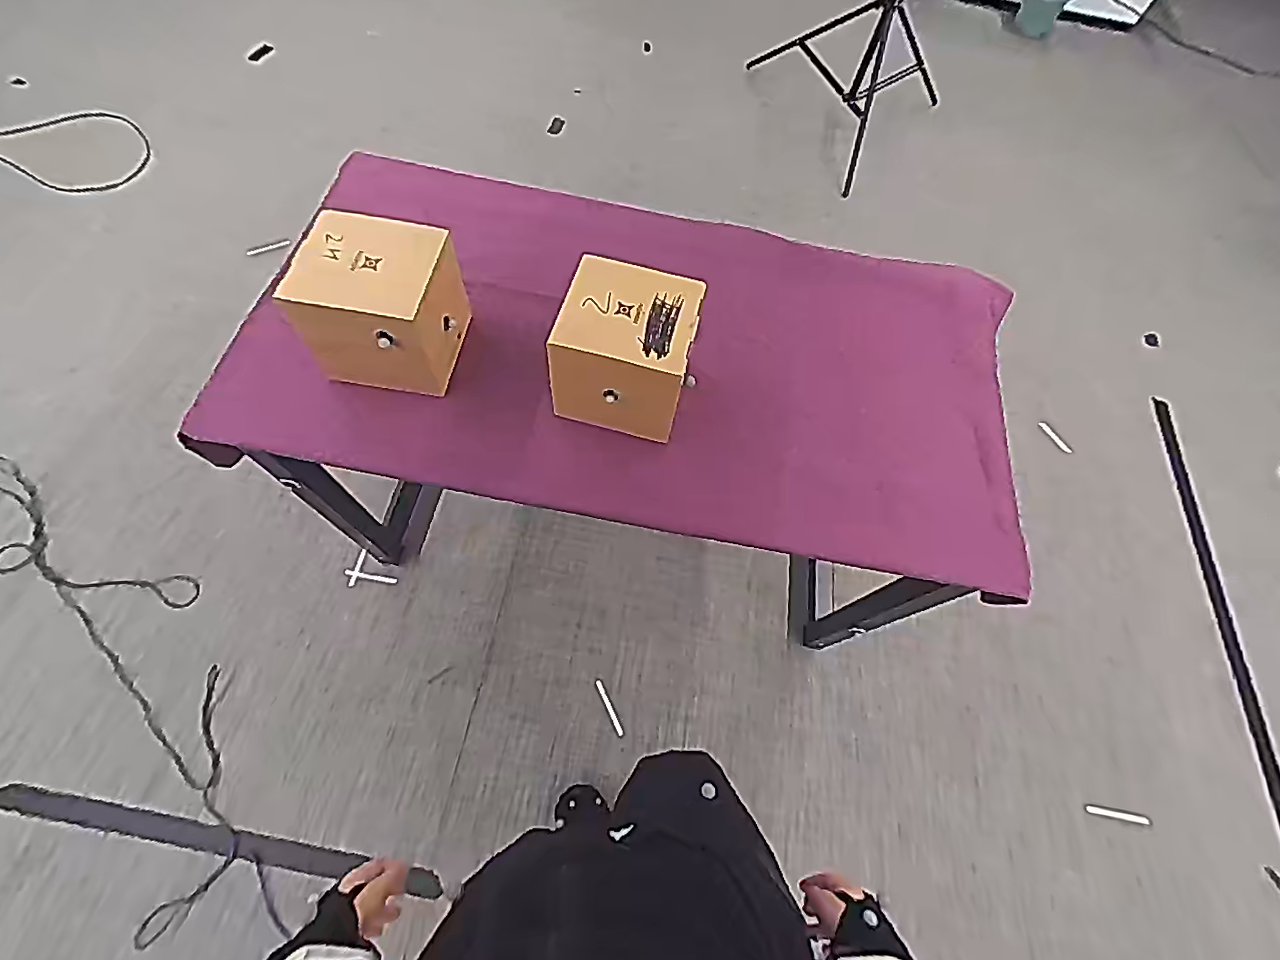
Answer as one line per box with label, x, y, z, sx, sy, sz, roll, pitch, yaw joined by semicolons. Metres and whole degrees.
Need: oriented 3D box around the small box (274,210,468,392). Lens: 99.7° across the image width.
small box;-0.359;-0.244;0.767;0.179;0.176;0.168;9;63;-1
